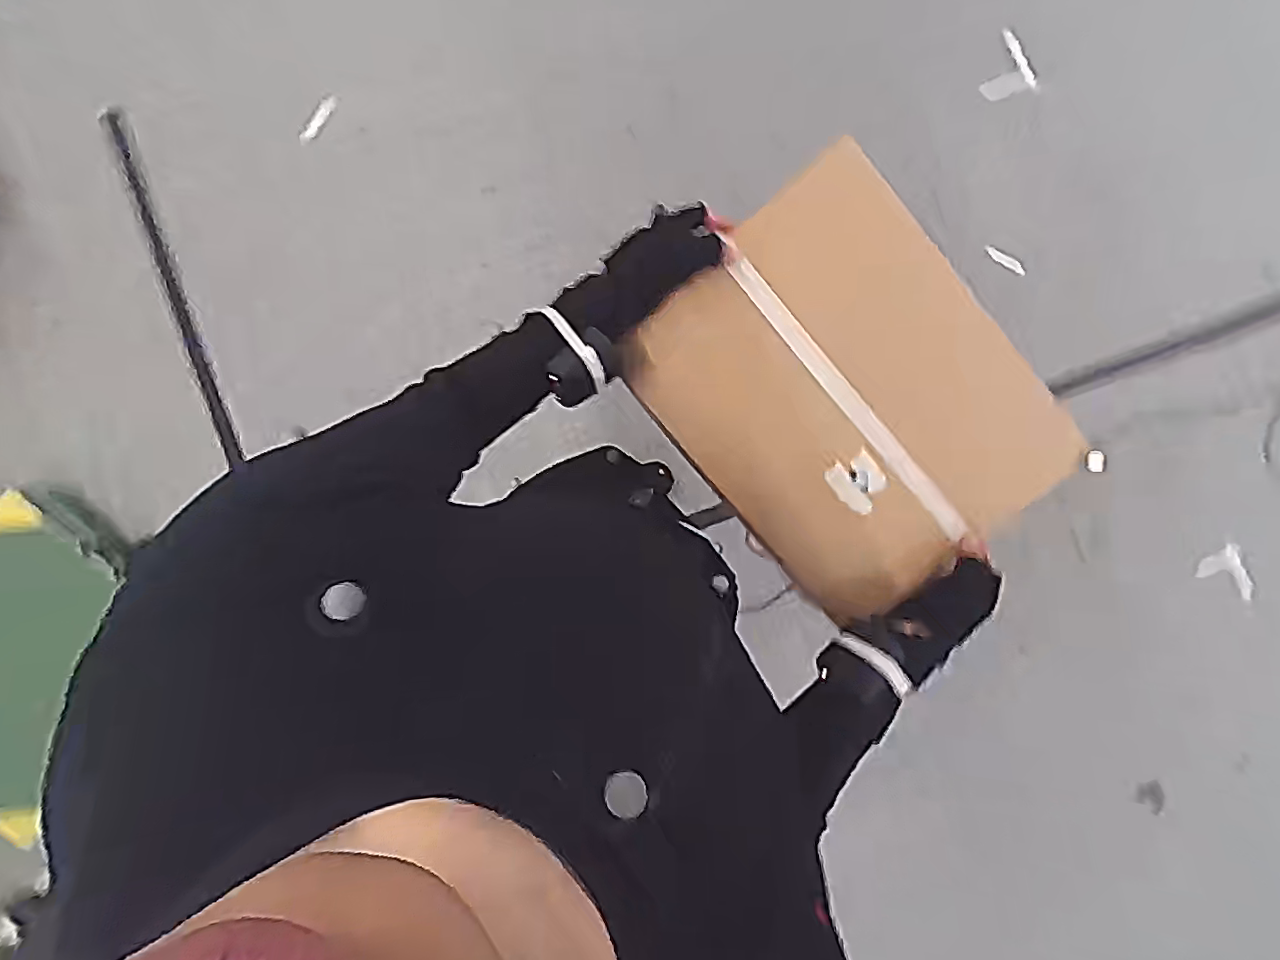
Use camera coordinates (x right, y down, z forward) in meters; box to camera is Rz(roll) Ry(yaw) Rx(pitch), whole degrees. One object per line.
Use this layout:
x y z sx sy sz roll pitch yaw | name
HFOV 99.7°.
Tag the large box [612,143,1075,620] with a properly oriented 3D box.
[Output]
0.211 -0.109 0.705 0.320 0.320 0.408 -40 96 6 | large box
